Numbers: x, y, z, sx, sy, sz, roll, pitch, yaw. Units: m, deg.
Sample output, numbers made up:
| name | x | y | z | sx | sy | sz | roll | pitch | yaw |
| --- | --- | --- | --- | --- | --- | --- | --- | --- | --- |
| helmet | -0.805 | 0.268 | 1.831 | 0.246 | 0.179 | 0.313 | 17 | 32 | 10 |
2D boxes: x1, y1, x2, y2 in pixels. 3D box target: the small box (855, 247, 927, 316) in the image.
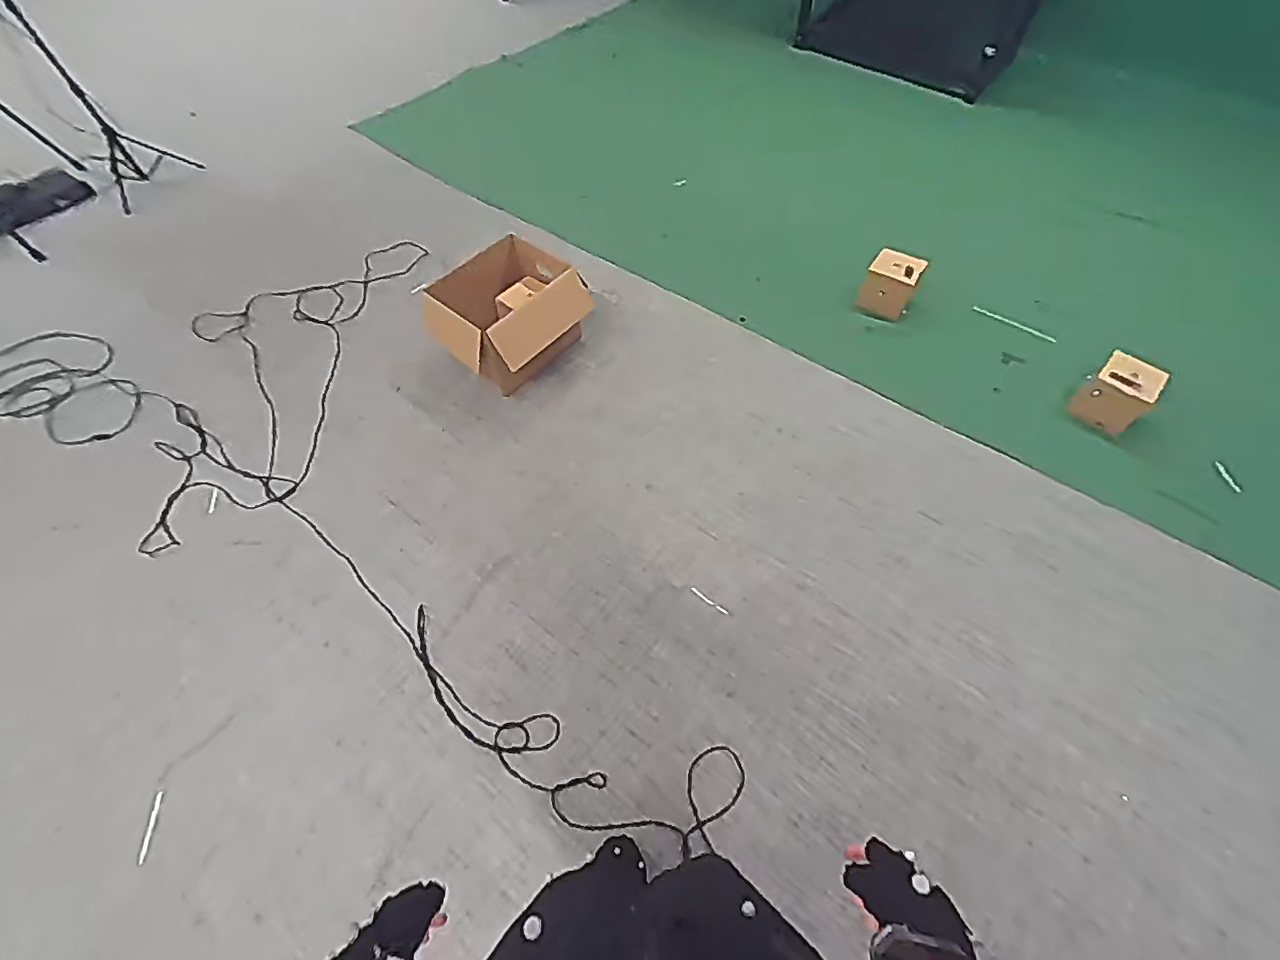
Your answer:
| name | x | y | z | sx | sy | sz | roll | pitch | yaw |
| --- | --- | --- | --- | --- | --- | --- | --- | --- | --- |
| small box | 0.965 | -0.762 | 2.091 | 0.179 | 0.176 | 0.168 | 30 | 62 | 19 |
